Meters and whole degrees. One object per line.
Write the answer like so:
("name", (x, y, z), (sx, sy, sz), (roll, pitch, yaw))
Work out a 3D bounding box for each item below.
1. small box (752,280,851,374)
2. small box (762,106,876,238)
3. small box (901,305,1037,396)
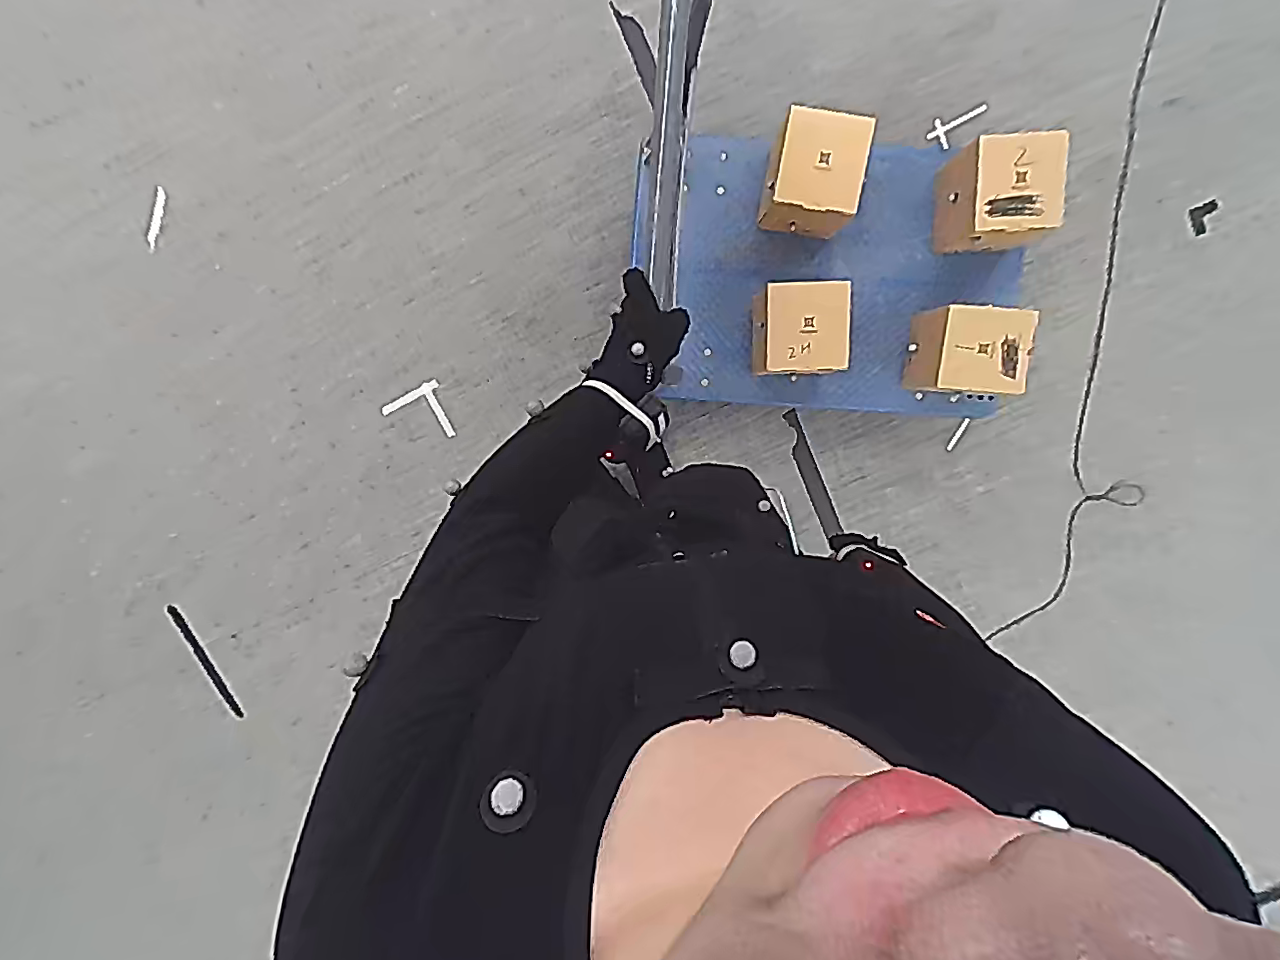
("small box", (0.338, -0.322, 1.161), (0.168, 0.176, 0.179), (0, 99, 2))
("small box", (0.357, -0.623, 1.112), (0.168, 0.176, 0.179), (8, 99, 1))
("small box", (0.693, -0.271, 1.157), (0.179, 0.176, 0.168), (6, 99, 2))
